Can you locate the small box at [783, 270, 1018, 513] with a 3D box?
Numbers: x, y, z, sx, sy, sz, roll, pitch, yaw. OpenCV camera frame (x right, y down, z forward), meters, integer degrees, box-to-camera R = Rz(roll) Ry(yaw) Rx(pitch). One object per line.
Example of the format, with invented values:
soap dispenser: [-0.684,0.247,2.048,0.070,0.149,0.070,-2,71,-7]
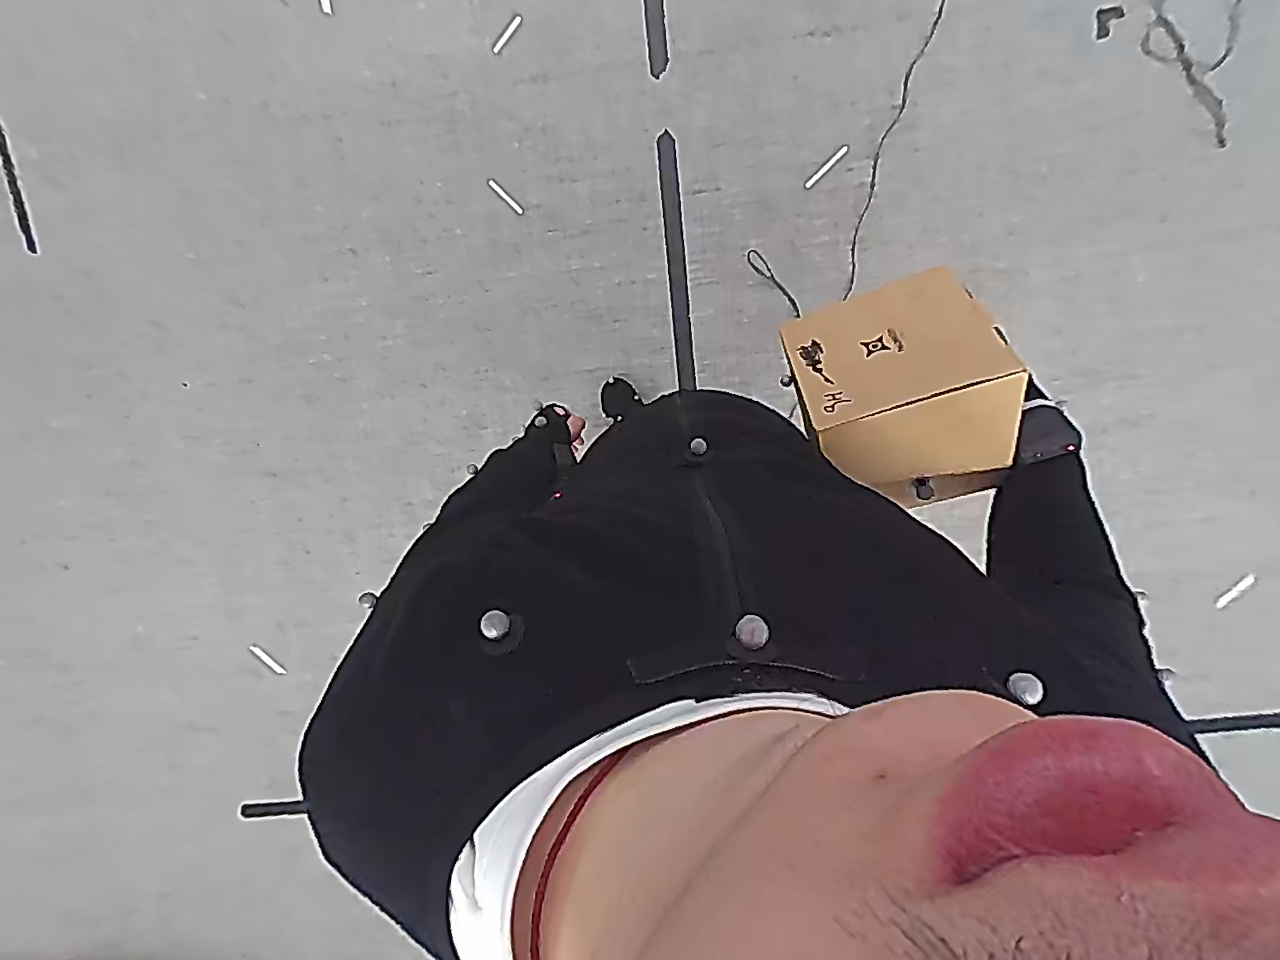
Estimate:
small box: [0.272,-0.088,0.593,0.179,0.168,0.176,-17,138,16]
